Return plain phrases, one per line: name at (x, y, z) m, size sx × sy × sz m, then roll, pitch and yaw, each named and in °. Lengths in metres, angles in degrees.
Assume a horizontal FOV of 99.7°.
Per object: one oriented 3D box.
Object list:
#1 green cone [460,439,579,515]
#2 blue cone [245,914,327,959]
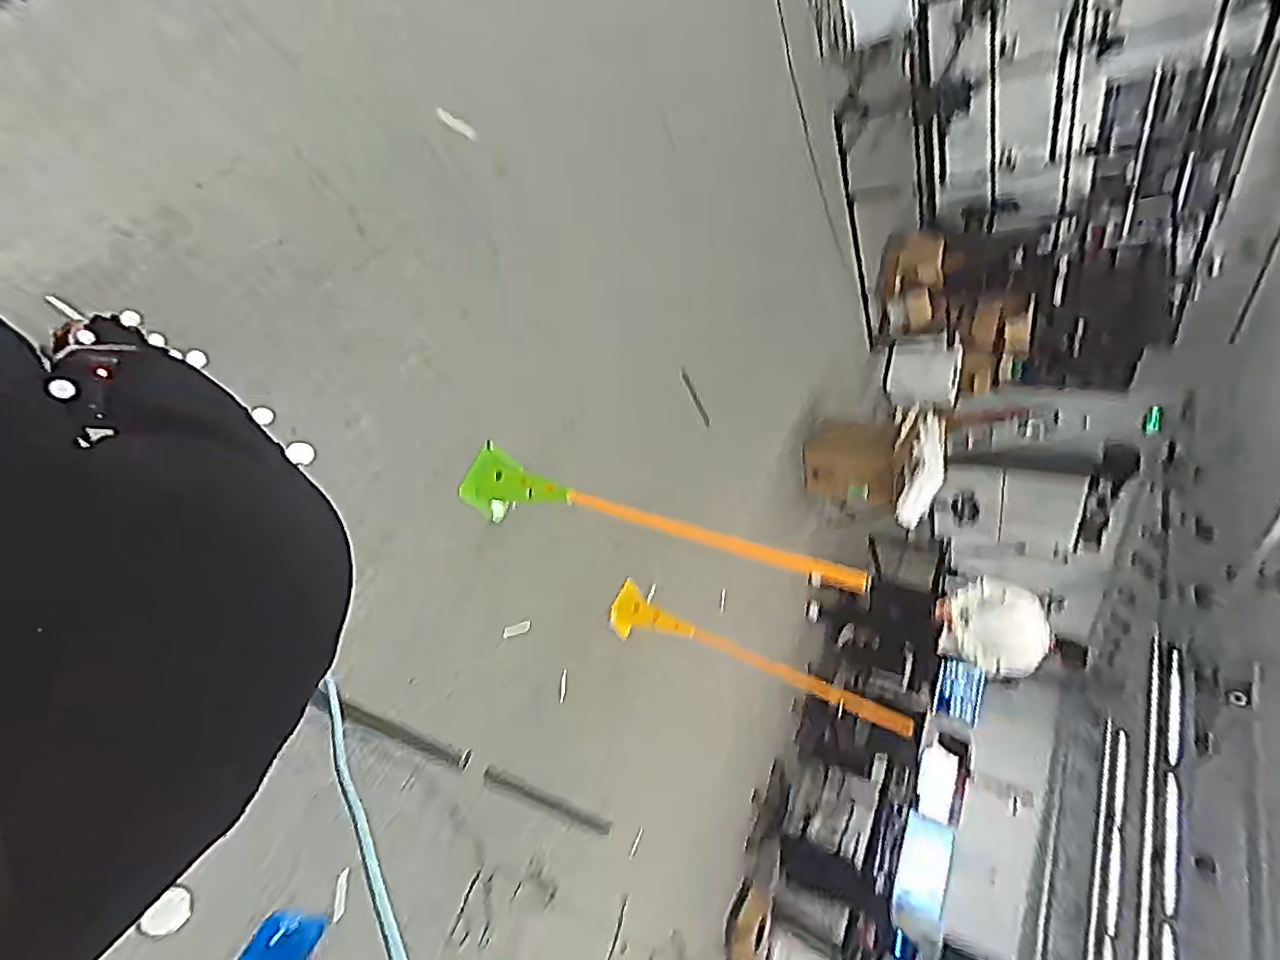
green cone at (-0.336, 0.016, 1.643) m, size 0.202 × 0.368 × 0.200 m, roll 45°, pitch 62°, yaw -50°
blue cone at (-0.802, 1.252, 1.298) m, size 0.193 × 0.380 × 0.192 m, roll -58°, pitch 138°, yaw -28°
